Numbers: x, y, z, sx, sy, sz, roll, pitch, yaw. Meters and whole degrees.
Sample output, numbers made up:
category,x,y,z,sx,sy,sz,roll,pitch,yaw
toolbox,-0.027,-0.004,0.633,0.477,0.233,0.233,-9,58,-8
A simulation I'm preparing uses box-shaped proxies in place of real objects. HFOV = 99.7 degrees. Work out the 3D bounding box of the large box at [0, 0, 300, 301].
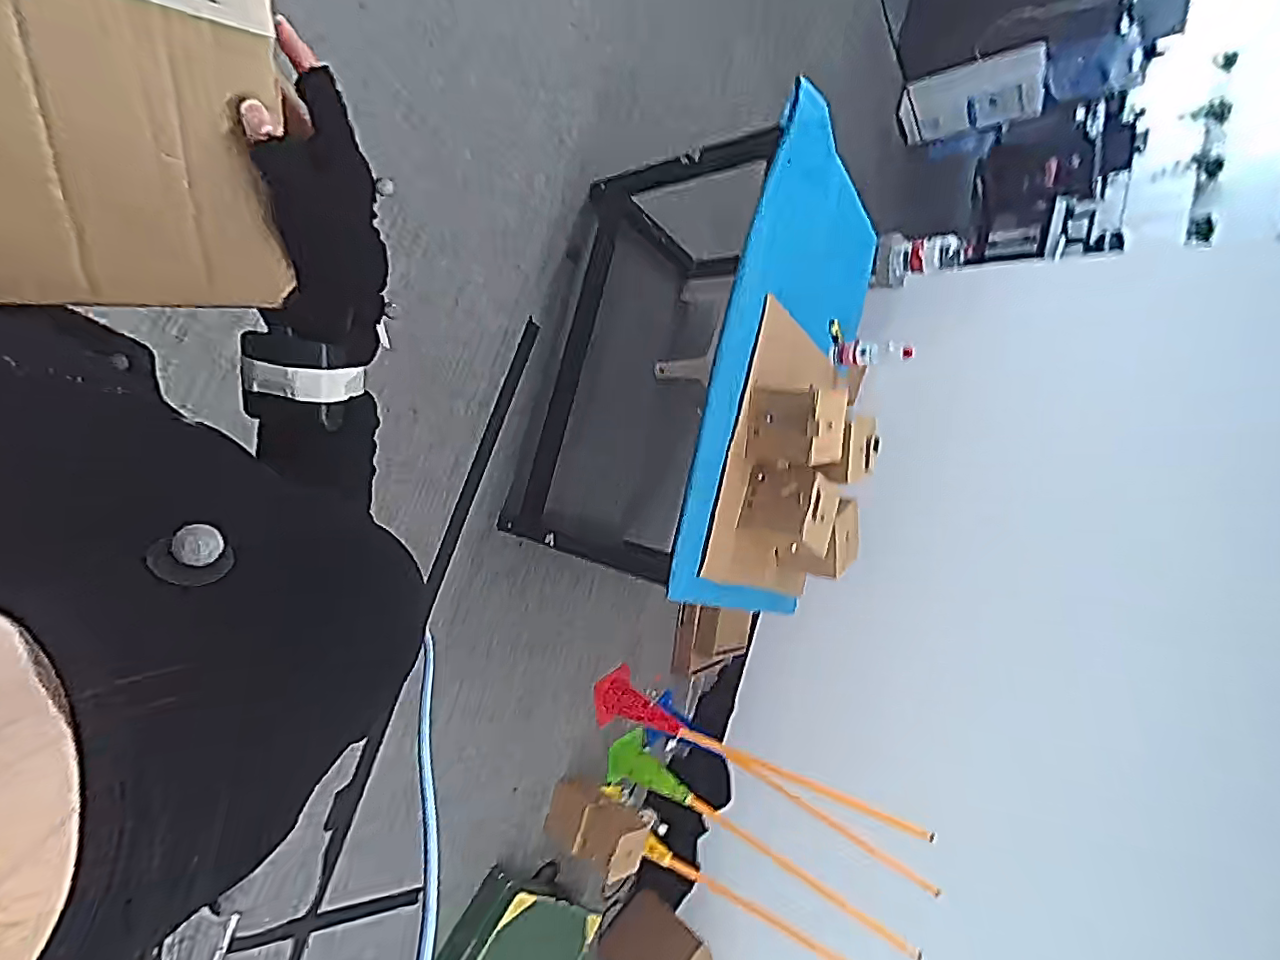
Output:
category,x,y,z,sx,sy,sz,roll,pitch,yaw
large box,-0.449,-0.282,0.258,0.408,0.320,0.320,-15,129,-42
